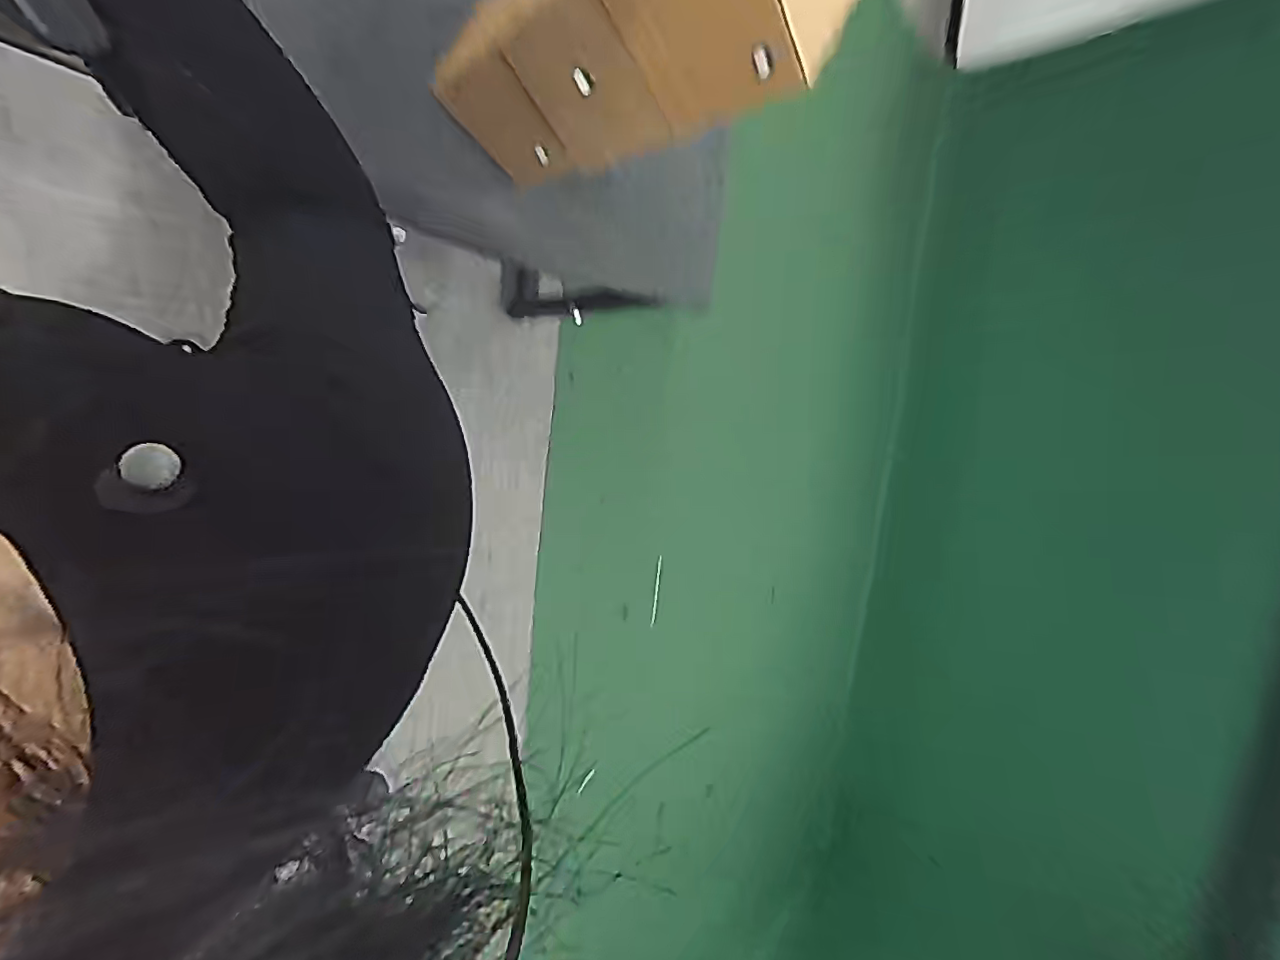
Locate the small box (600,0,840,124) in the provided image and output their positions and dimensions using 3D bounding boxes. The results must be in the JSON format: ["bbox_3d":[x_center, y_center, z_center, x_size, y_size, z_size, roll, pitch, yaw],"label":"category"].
[{"bbox_3d":[0.077,-0.495,0.524,0.179,0.176,0.168,41,68,-44],"label":"small box"}]
